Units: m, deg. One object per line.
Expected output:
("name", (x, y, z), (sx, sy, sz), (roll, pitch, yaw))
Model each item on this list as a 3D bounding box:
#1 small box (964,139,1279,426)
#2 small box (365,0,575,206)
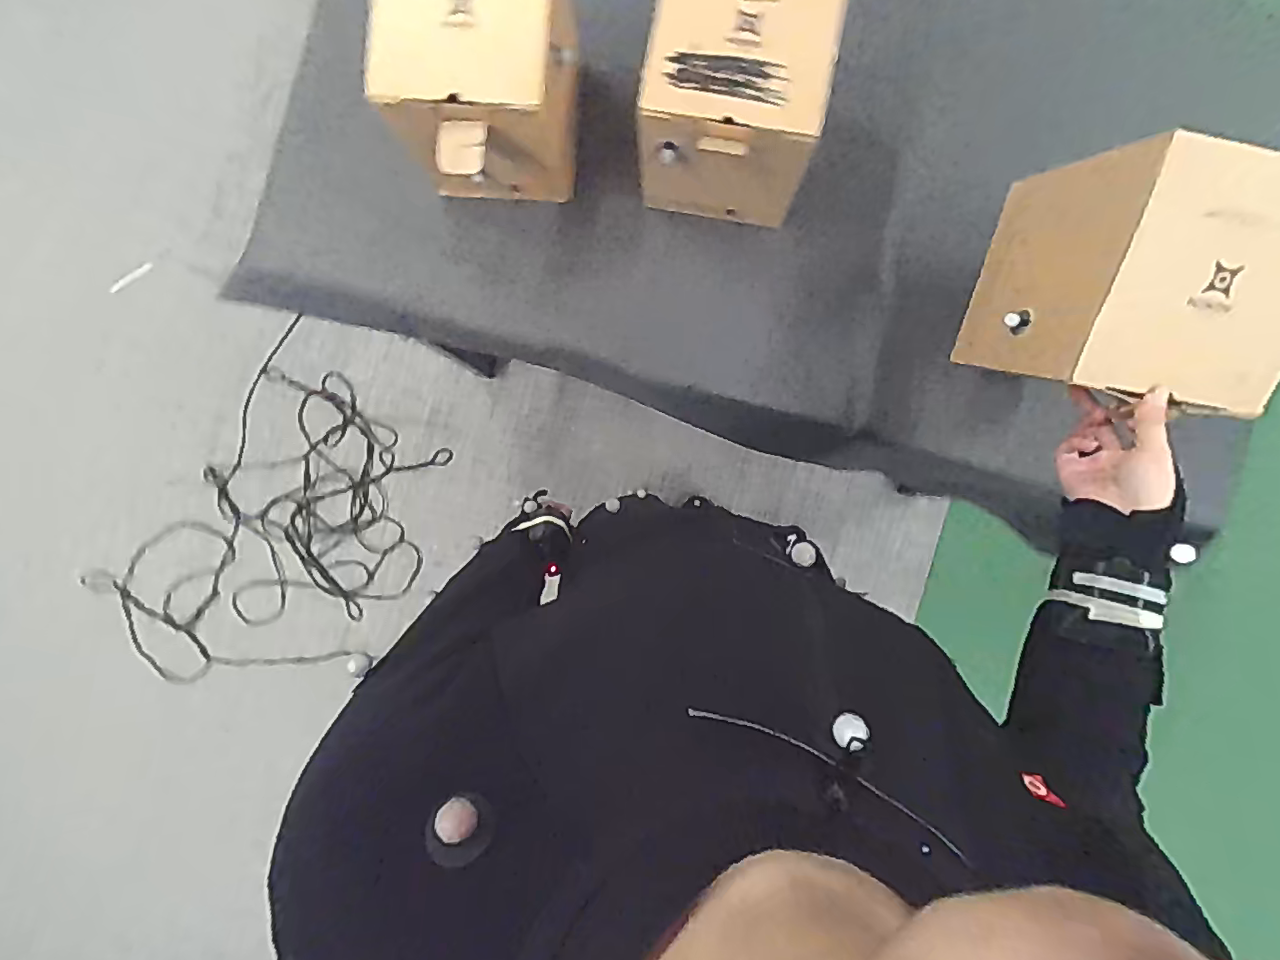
("small box", (0.424, -0.160, 0.471), (0.168, 0.176, 0.179), (9, 106, -4))
("small box", (-0.165, -0.426, 0.578), (0.168, 0.176, 0.179), (4, 90, 2))
